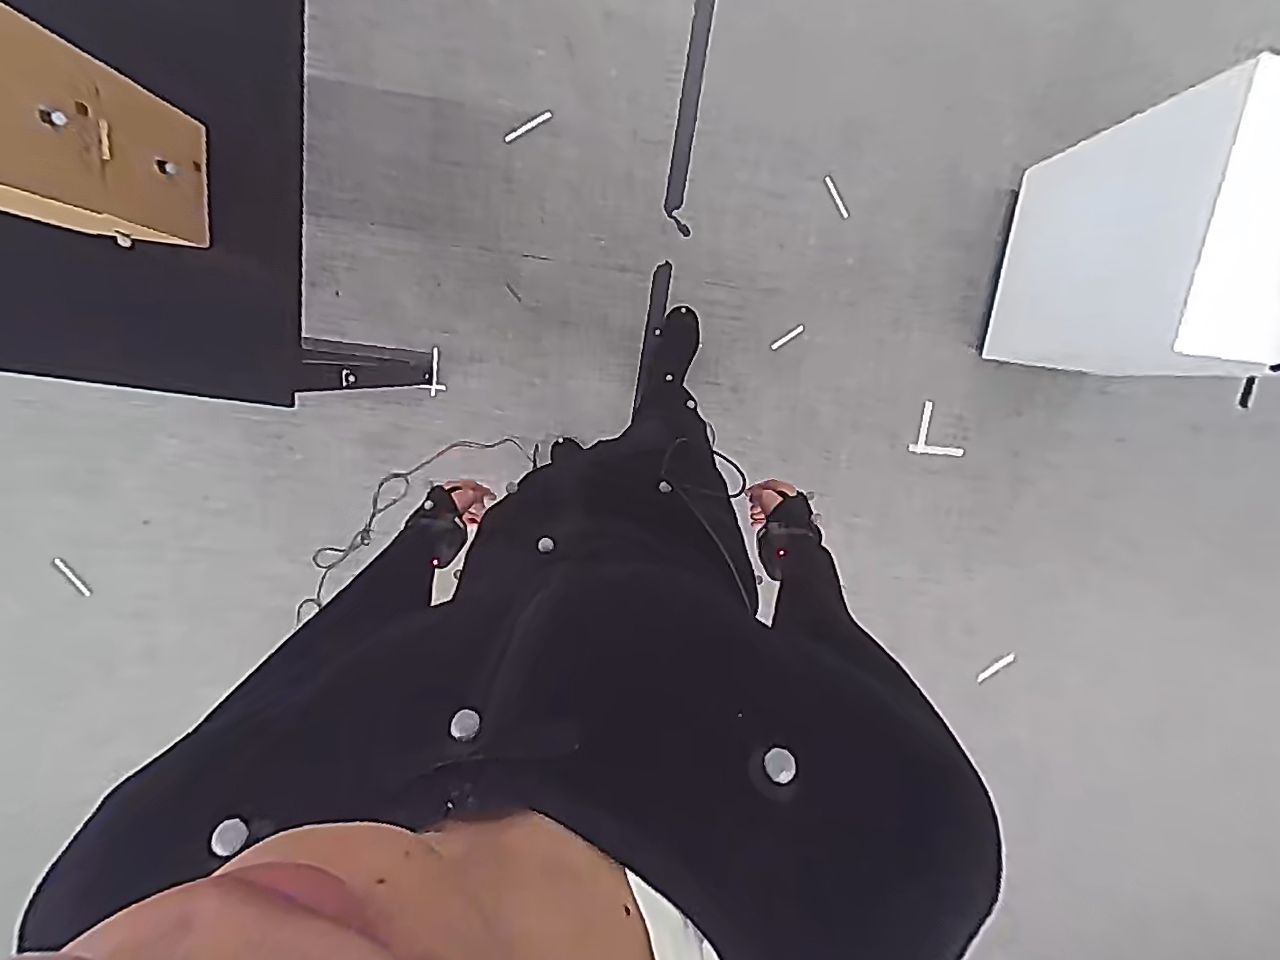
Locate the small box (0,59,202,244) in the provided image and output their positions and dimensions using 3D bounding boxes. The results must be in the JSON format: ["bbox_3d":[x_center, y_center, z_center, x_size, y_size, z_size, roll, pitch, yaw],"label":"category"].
[{"bbox_3d":[-0.696,-0.408,0.682,0.179,0.176,0.168,5,100,-4],"label":"small box"}]

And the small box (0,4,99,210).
[{"bbox_3d":[-0.691,-0.378,0.520,0.179,0.176,0.168,6,101,-4],"label":"small box"}]
